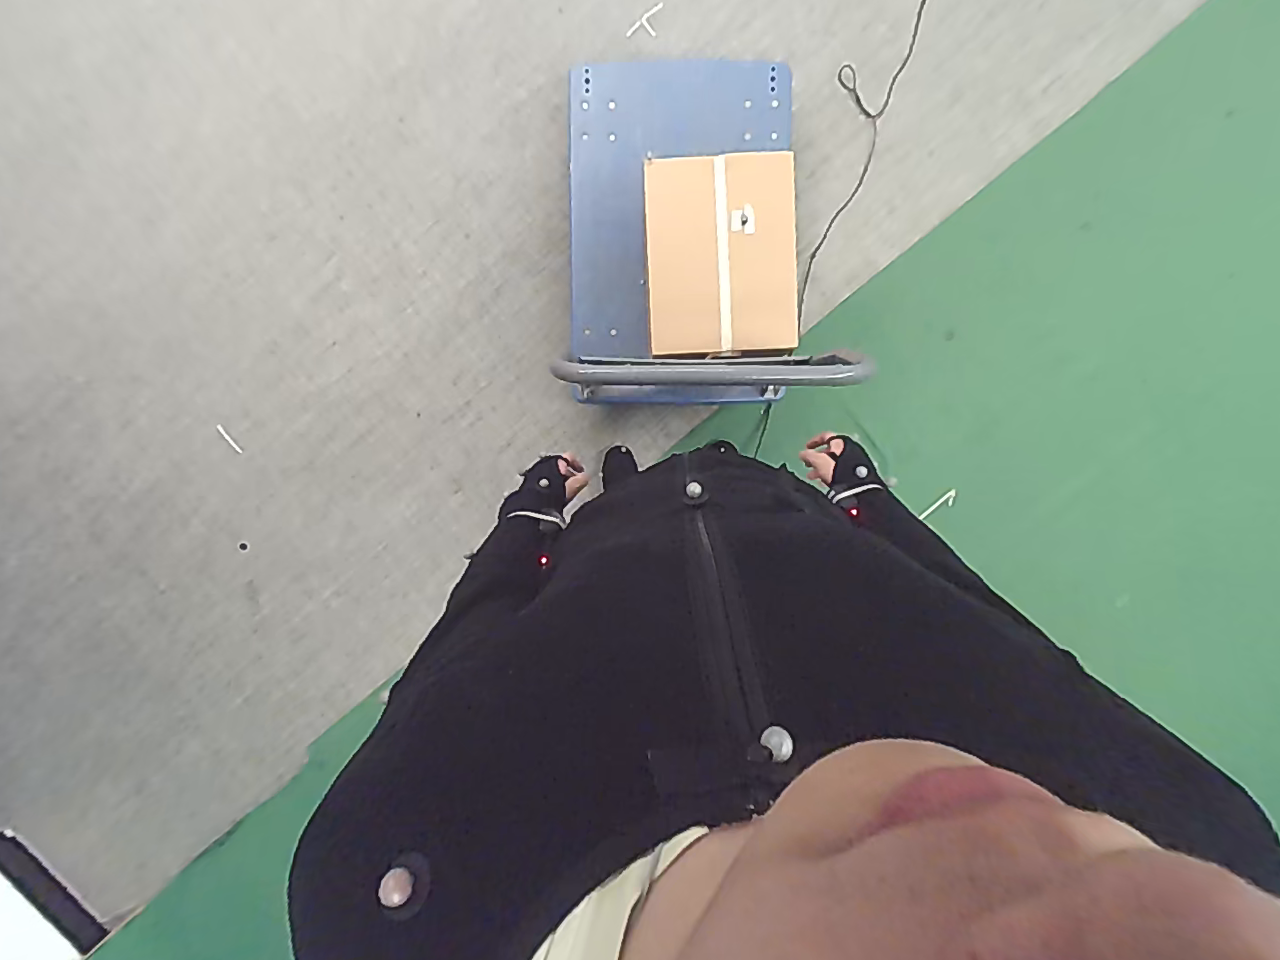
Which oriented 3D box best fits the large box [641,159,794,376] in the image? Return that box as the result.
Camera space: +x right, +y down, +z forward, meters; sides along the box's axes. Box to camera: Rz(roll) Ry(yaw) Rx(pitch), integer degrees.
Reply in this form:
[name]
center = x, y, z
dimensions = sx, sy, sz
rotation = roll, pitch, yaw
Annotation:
[large box]
center = 0.170, -0.480, 1.303
dimensions = 0.320, 0.320, 0.408
rotation = -3, 93, 0
